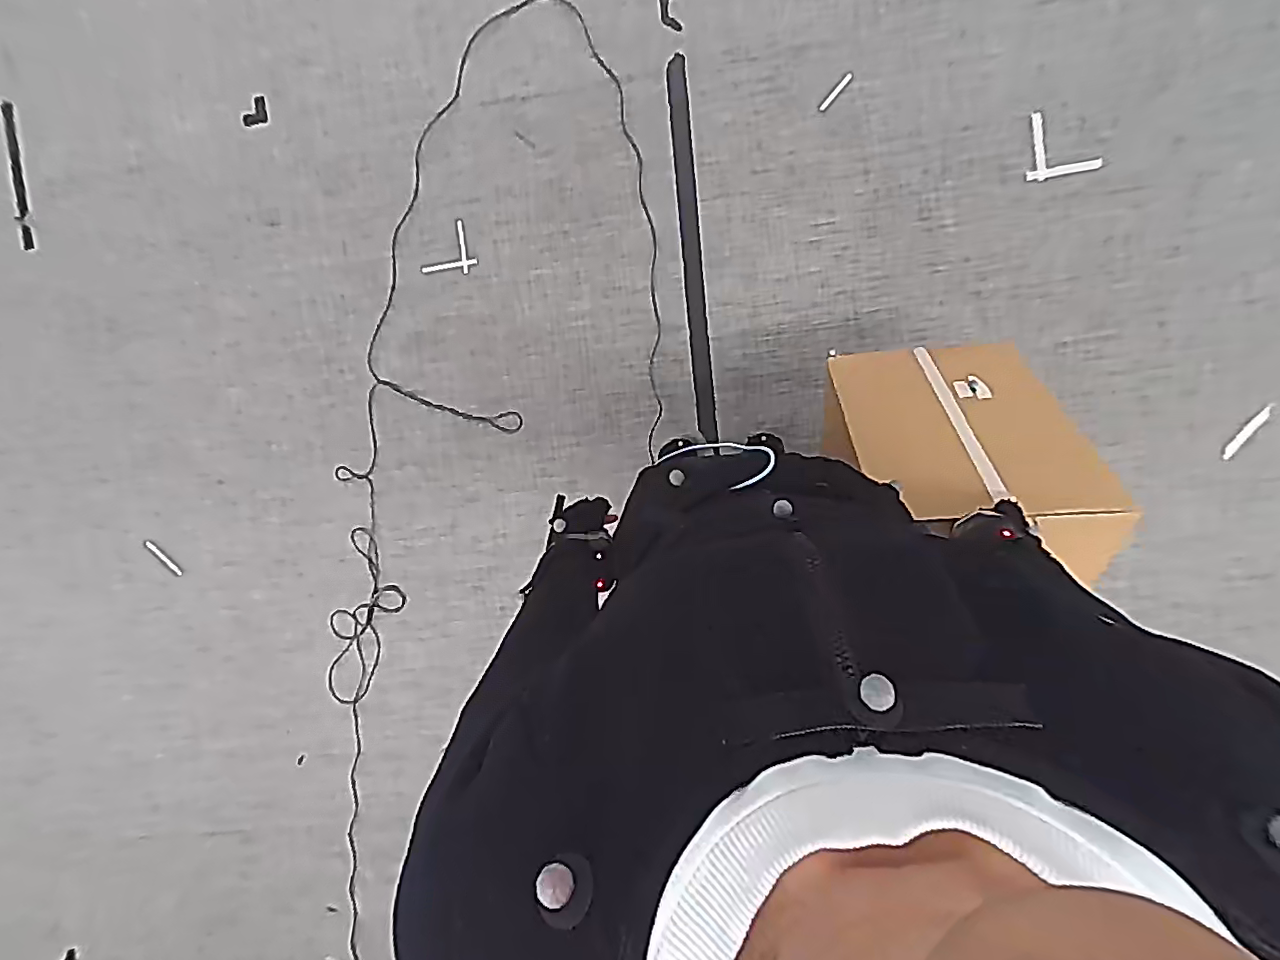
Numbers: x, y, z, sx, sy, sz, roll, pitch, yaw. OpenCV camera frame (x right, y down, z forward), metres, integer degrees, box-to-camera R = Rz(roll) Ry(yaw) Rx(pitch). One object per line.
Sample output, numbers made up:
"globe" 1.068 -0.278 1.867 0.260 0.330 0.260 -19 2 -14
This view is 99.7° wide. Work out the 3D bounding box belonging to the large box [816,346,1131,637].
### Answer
"large box" 0.508 0.016 0.946 0.320 0.408 0.320 -4 133 8
